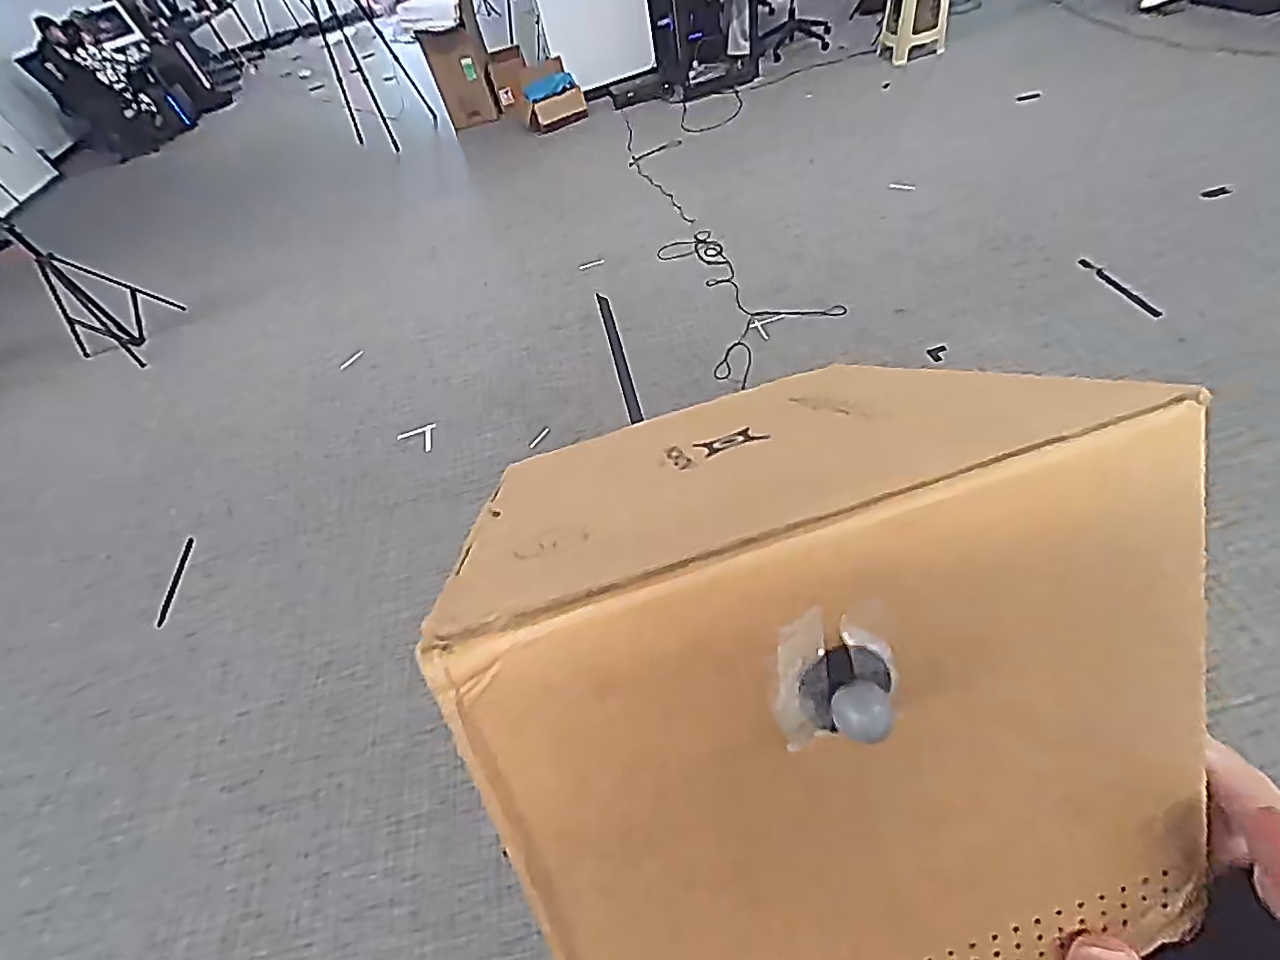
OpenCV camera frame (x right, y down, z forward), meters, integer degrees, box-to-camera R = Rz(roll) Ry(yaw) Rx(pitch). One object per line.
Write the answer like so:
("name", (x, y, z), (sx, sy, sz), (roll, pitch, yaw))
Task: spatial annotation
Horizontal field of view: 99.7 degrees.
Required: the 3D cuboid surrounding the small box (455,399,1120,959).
("small box", (0.052, 0.077, 0.226), (0.179, 0.176, 0.168), (-17, 15, -3))
